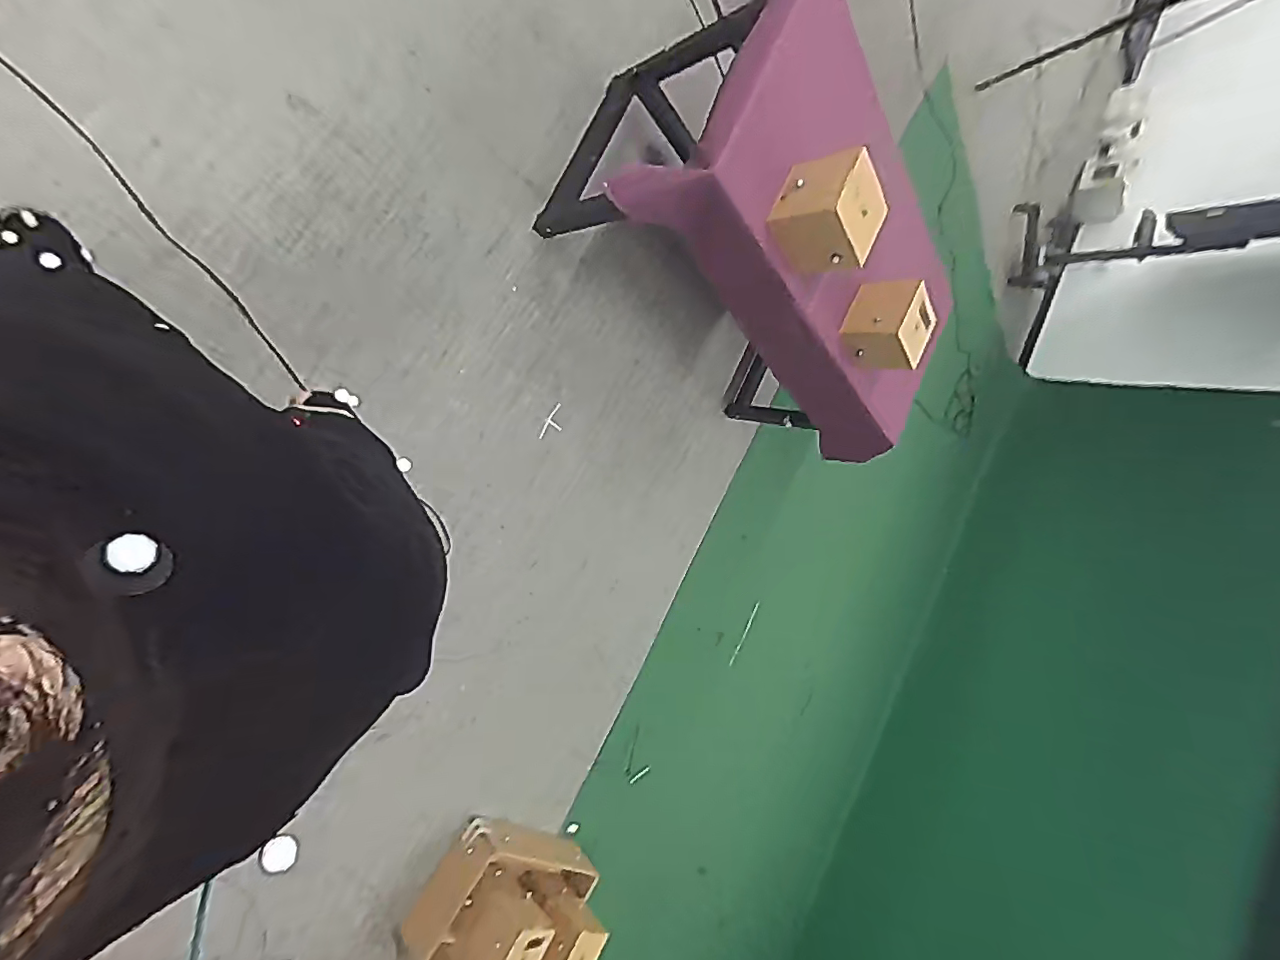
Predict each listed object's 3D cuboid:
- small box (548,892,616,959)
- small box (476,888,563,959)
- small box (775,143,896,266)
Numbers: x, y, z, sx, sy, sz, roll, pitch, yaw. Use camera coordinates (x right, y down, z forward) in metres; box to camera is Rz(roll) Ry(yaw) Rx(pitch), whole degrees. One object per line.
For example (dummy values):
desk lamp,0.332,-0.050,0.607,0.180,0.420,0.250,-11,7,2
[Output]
small box,-0.224,1.607,1.901,0.168,0.176,0.179,47,68,-38
small box,-0.385,1.432,1.706,0.168,0.176,0.179,45,71,-40
small box,0.430,-0.593,1.191,0.179,0.176,0.168,36,76,-42
